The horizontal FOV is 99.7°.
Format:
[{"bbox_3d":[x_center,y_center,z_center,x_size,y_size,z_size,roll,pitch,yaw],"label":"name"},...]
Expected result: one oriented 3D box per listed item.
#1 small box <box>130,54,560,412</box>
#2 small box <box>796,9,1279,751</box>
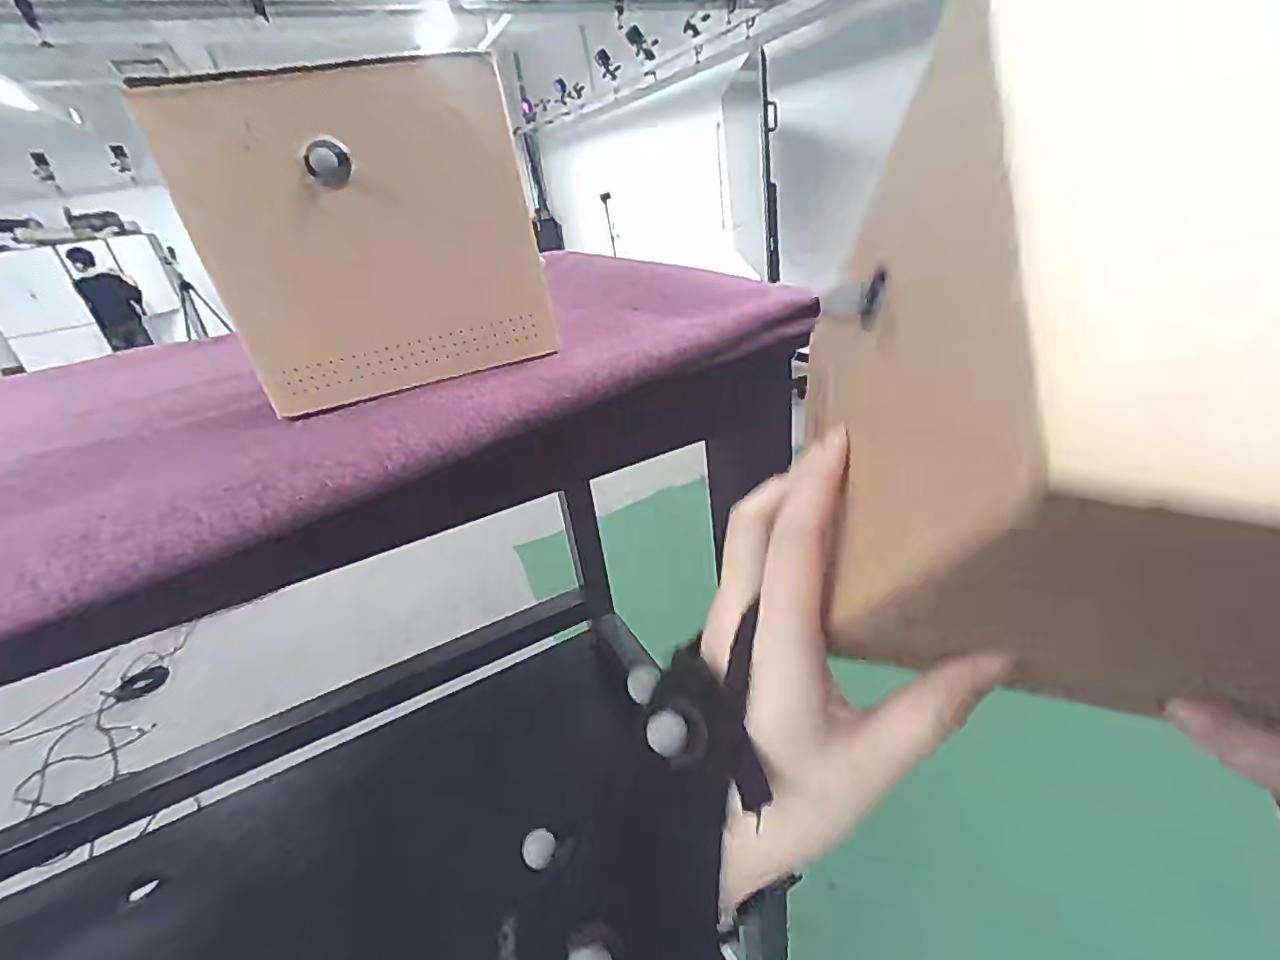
[{"bbox_3d":[-0.171,-0.159,0.373,0.179,0.176,0.168,-17,28,-15],"label":"small box"},{"bbox_3d":[0.161,-0.011,0.184,0.179,0.176,0.168,10,66,5],"label":"small box"}]
